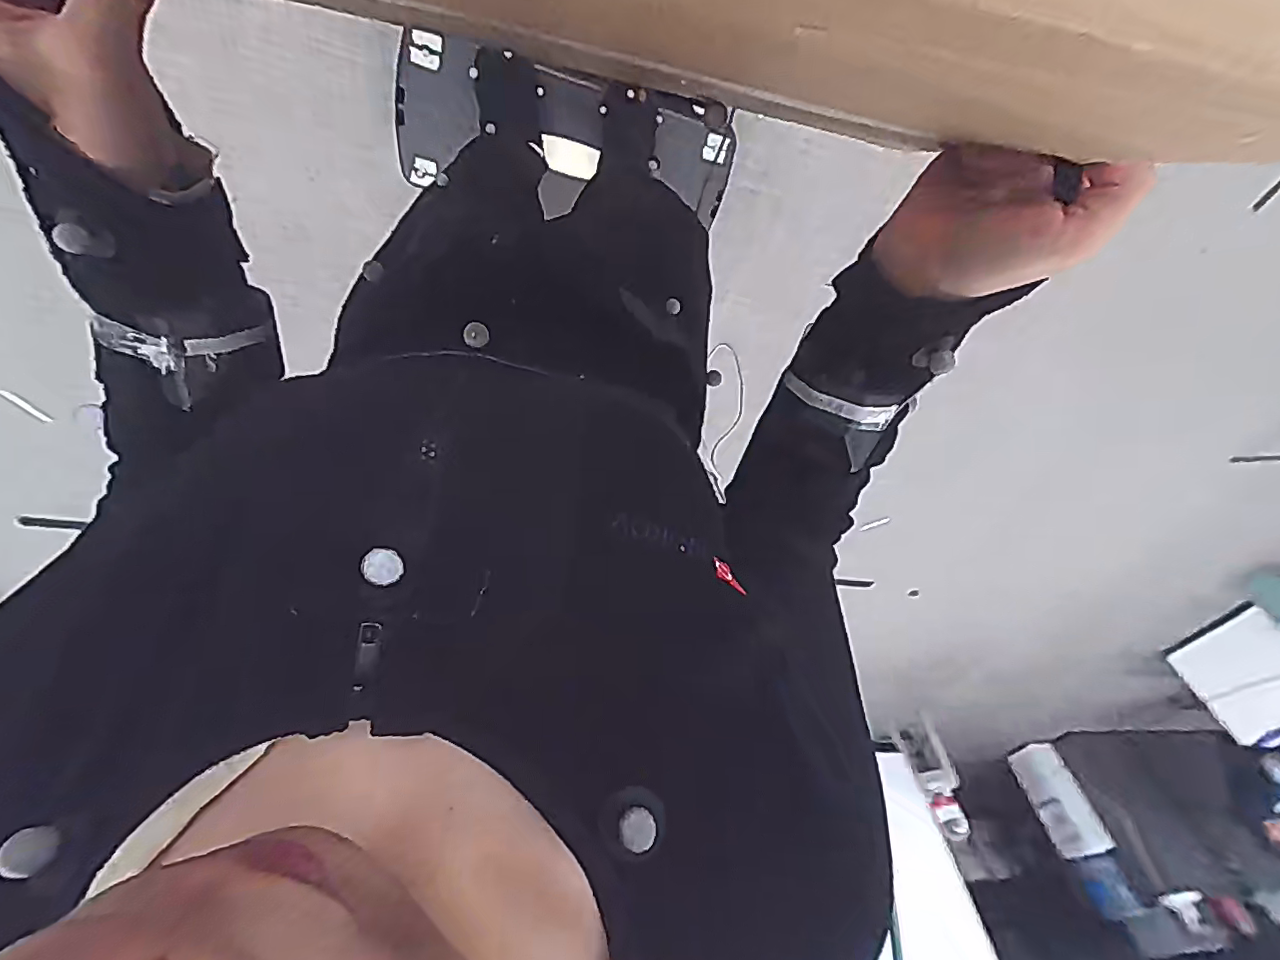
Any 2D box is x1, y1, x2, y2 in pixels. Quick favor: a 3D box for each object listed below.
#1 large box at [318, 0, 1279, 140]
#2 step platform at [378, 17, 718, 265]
[{"bbox_3d":[-0.005,-0.305,0.128,0.408,0.320,0.320,9,124,-5],"label":"large box"},{"bbox_3d":[-0.180,-0.711,1.150,0.684,0.204,0.286,12,130,-18],"label":"step platform"}]
